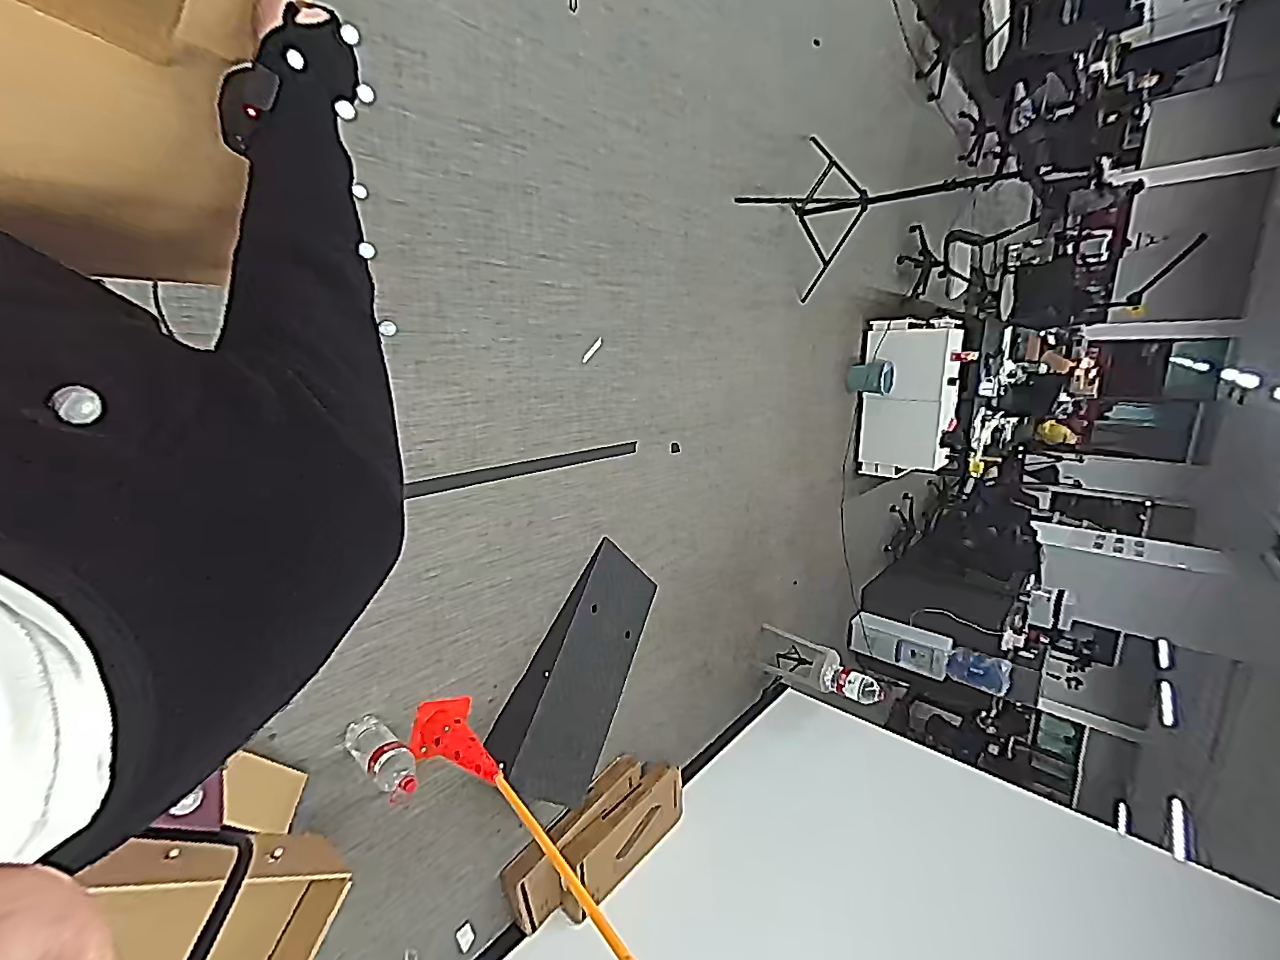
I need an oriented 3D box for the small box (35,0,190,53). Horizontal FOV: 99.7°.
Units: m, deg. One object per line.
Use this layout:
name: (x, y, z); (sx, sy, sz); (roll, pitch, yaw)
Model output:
small box: (-0.404, -0.437, 0.357); (0.179, 0.176, 0.168); (4, 98, -46)
